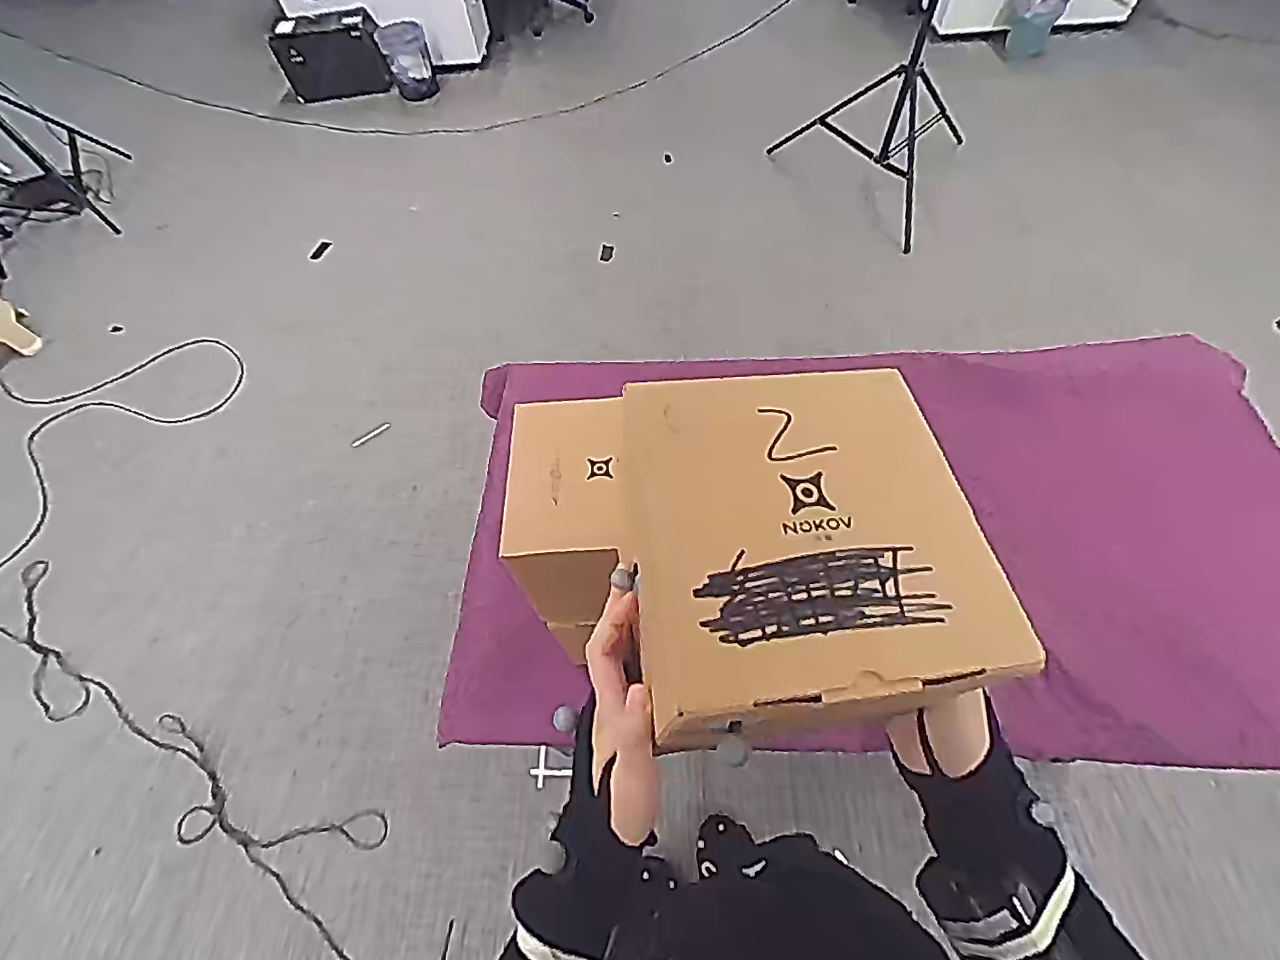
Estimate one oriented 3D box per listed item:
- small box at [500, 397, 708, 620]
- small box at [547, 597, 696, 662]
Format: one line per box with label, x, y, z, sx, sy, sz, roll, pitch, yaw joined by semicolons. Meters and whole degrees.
small box;-0.029;0.036;0.556;0.179;0.176;0.168;-5;57;2
small box;-0.018;0.122;0.692;0.168;0.176;0.179;-3;58;2
